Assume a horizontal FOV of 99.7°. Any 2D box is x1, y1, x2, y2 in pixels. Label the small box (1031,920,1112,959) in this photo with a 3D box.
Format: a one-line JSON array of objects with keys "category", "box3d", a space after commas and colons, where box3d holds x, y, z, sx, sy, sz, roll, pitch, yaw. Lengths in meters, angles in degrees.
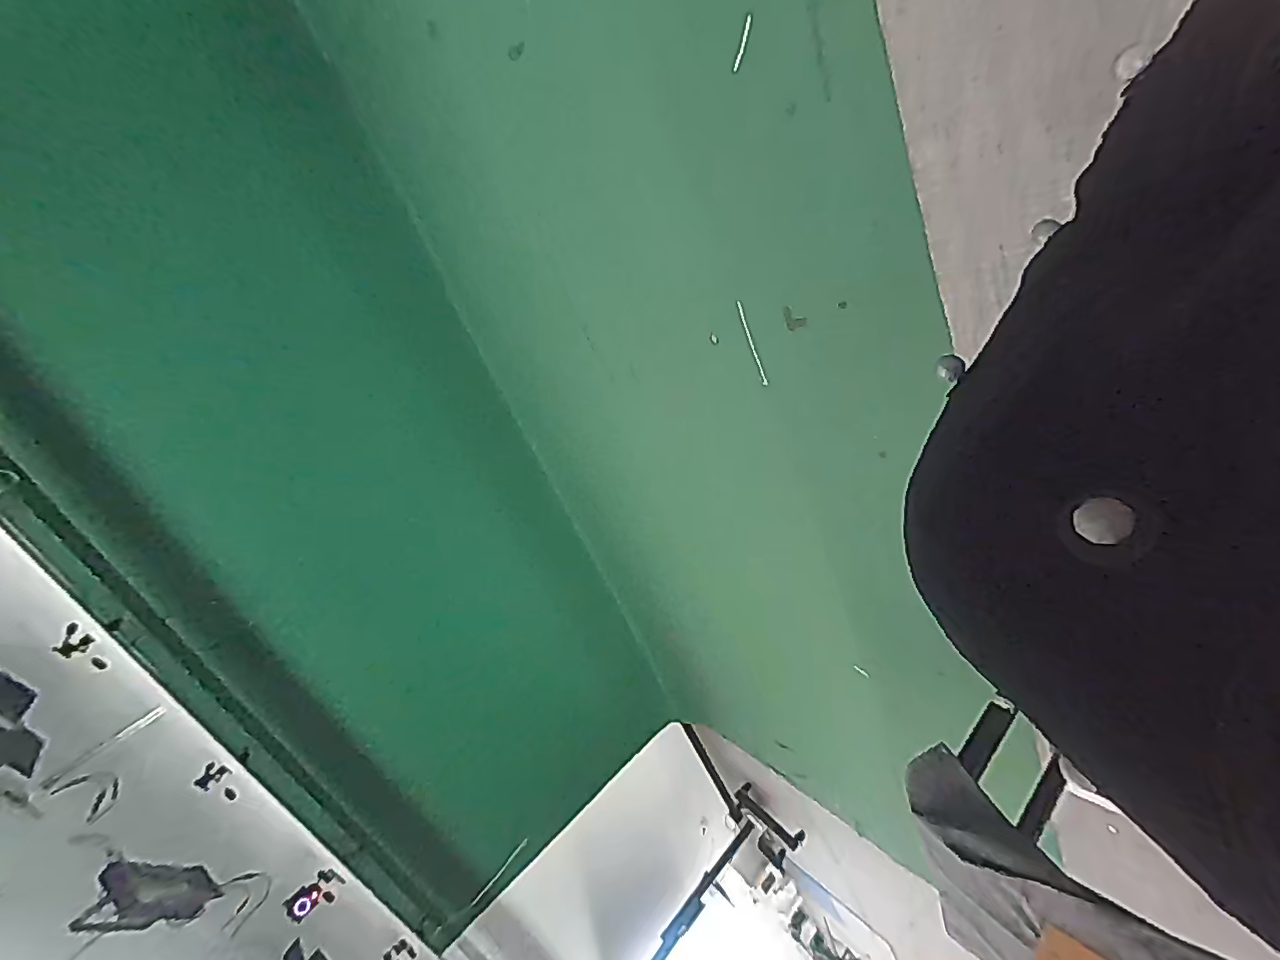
[{"category": "small box", "box3d": [0.890, 1.045, 1.075, 0.179, 0.176, 0.168, 11, 132, 55]}]
